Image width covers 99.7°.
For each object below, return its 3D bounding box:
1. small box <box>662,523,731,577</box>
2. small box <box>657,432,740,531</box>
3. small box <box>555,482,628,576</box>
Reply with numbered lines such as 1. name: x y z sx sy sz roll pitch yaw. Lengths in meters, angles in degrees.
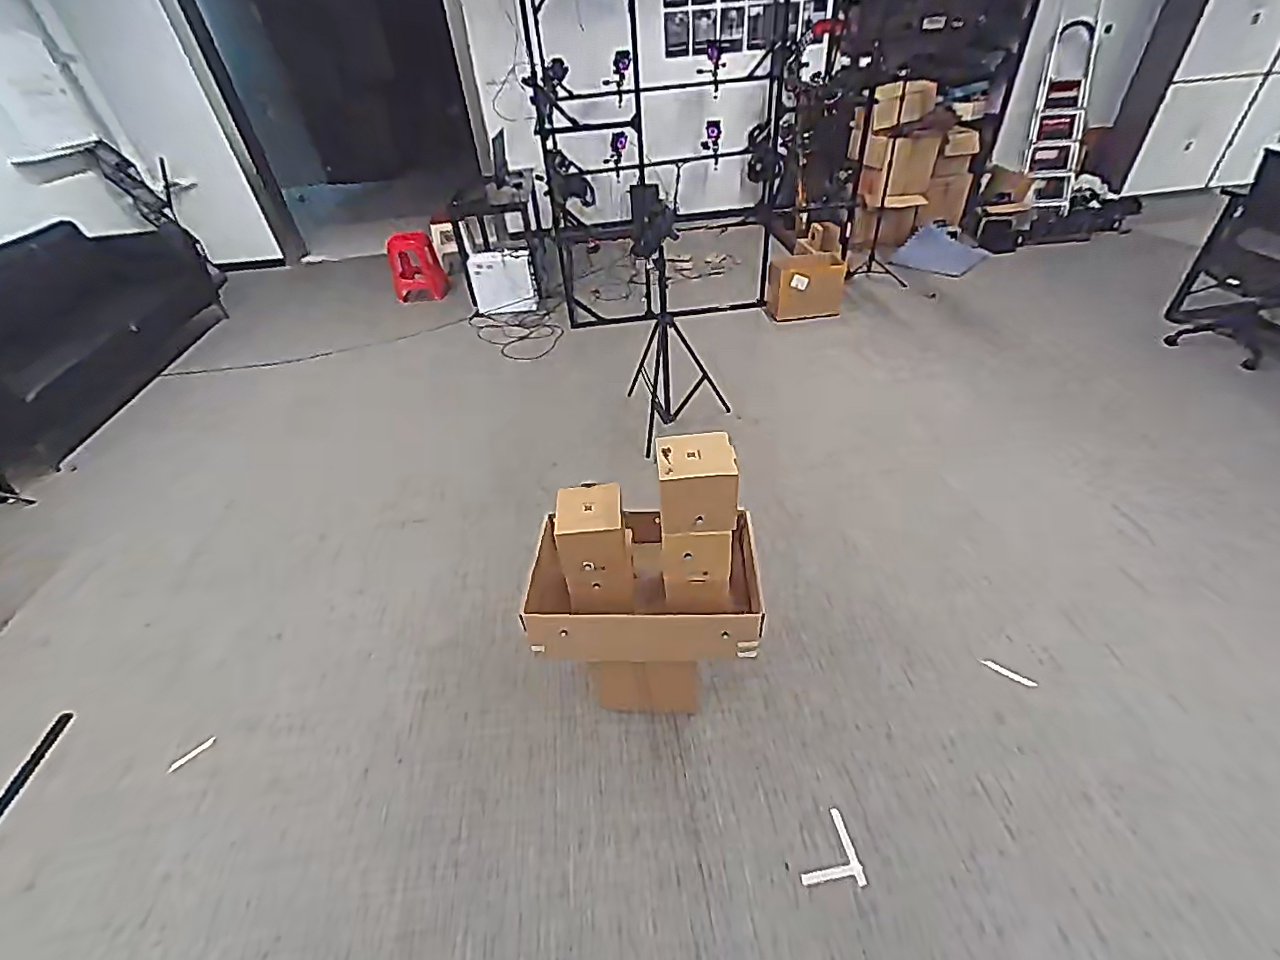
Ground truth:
1. small box: 0.141 0.133 1.372 0.168 0.176 0.179 -3 39 3
2. small box: 0.132 0.004 1.271 0.179 0.176 0.168 -4 38 1
3. small box: -0.122 0.127 1.406 0.168 0.176 0.179 -5 39 1
